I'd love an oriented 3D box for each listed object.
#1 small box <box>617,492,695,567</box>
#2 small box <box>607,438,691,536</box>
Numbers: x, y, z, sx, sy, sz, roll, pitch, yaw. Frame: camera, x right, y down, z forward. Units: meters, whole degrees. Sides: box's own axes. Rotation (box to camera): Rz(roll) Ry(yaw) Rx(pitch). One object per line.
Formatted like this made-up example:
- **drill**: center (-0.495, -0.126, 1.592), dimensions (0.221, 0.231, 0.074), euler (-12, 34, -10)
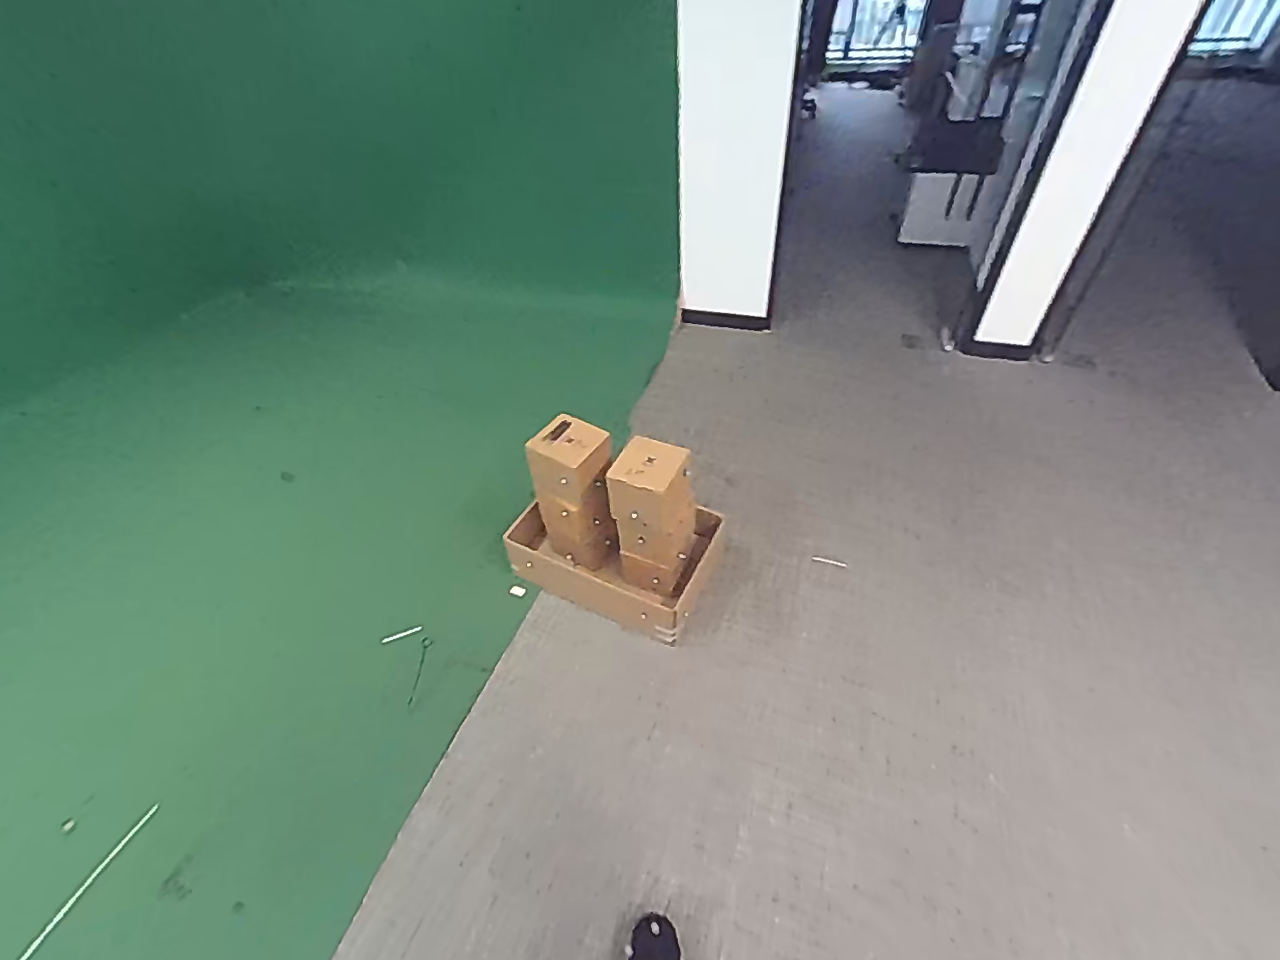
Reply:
- **small box**: center (0.054, 0.129, 1.578), dimensions (0.179, 0.176, 0.168), euler (16, 49, 22)
- **small box**: center (0.030, 0.019, 1.457), dimensions (0.168, 0.176, 0.179), euler (17, 49, 22)
